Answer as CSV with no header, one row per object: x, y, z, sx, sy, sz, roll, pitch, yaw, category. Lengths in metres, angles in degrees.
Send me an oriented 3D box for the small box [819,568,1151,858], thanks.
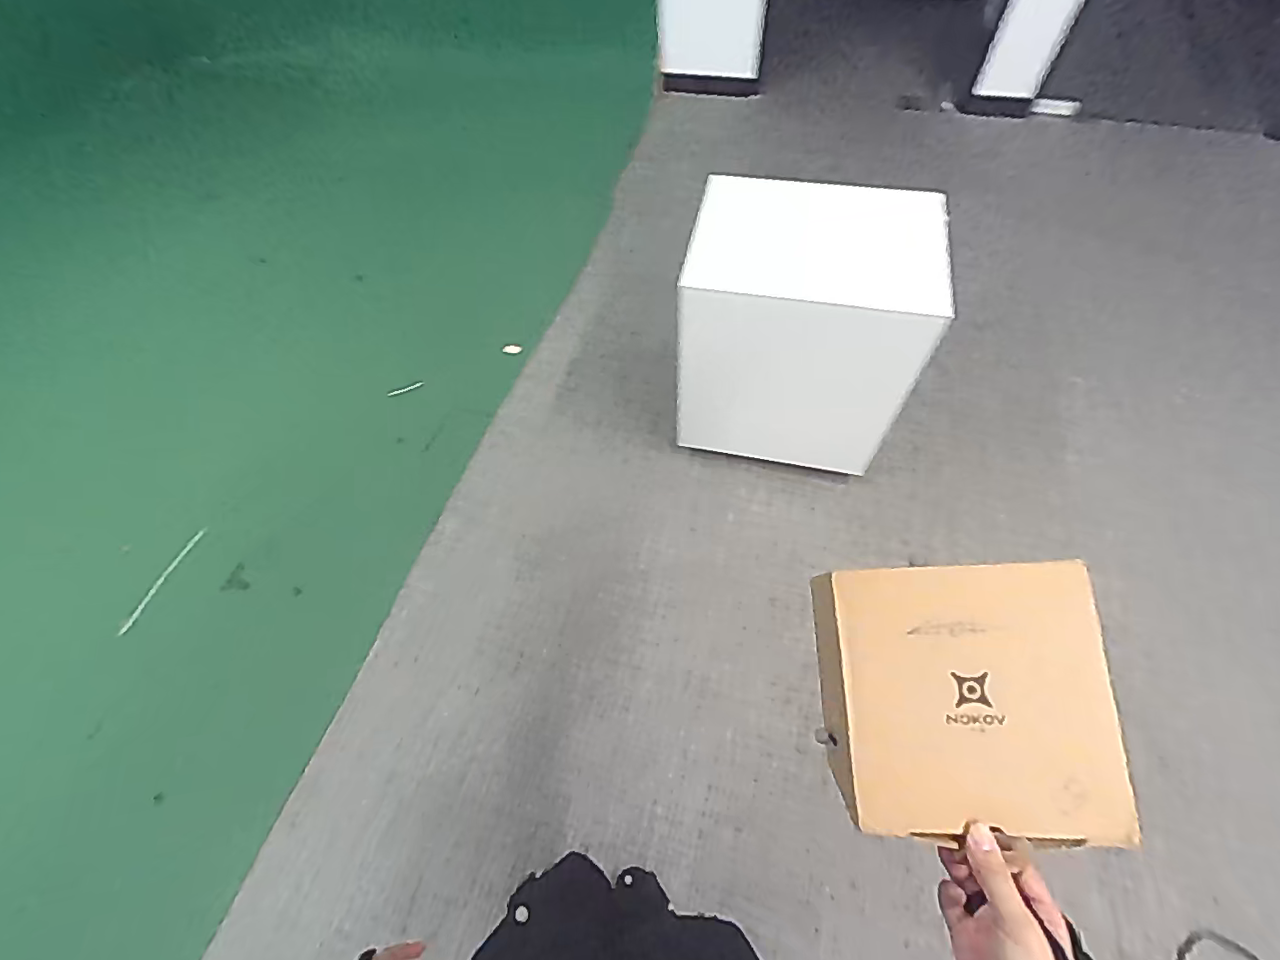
0.244,0.165,0.435,0.168,0.176,0.179,-4,76,11,small box
